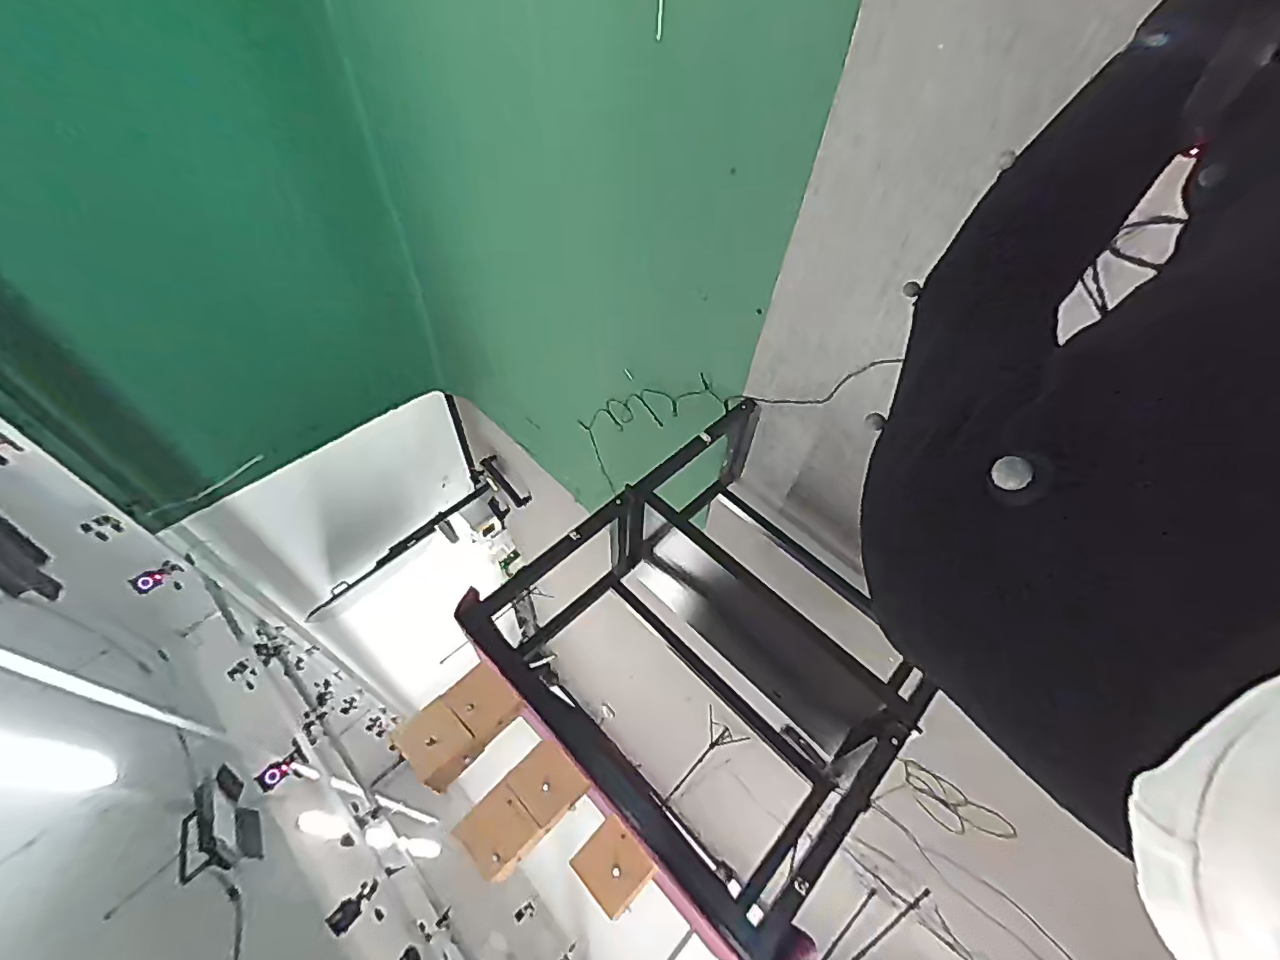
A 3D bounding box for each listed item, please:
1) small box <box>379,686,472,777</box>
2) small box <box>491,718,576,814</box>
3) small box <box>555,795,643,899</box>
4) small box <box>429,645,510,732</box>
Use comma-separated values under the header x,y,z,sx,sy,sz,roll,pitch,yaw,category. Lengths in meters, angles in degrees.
x,y,z,sx,sy,sz,roll,pitch,yaw,category
-0.632,0.742,1.611,0.179,0.176,0.168,36,150,23,small box
-0.298,0.824,1.560,0.179,0.176,0.168,39,151,20,small box
-0.104,0.986,1.462,0.168,0.176,0.179,37,151,27,small box
-0.520,0.649,1.687,0.179,0.176,0.168,41,152,18,small box
